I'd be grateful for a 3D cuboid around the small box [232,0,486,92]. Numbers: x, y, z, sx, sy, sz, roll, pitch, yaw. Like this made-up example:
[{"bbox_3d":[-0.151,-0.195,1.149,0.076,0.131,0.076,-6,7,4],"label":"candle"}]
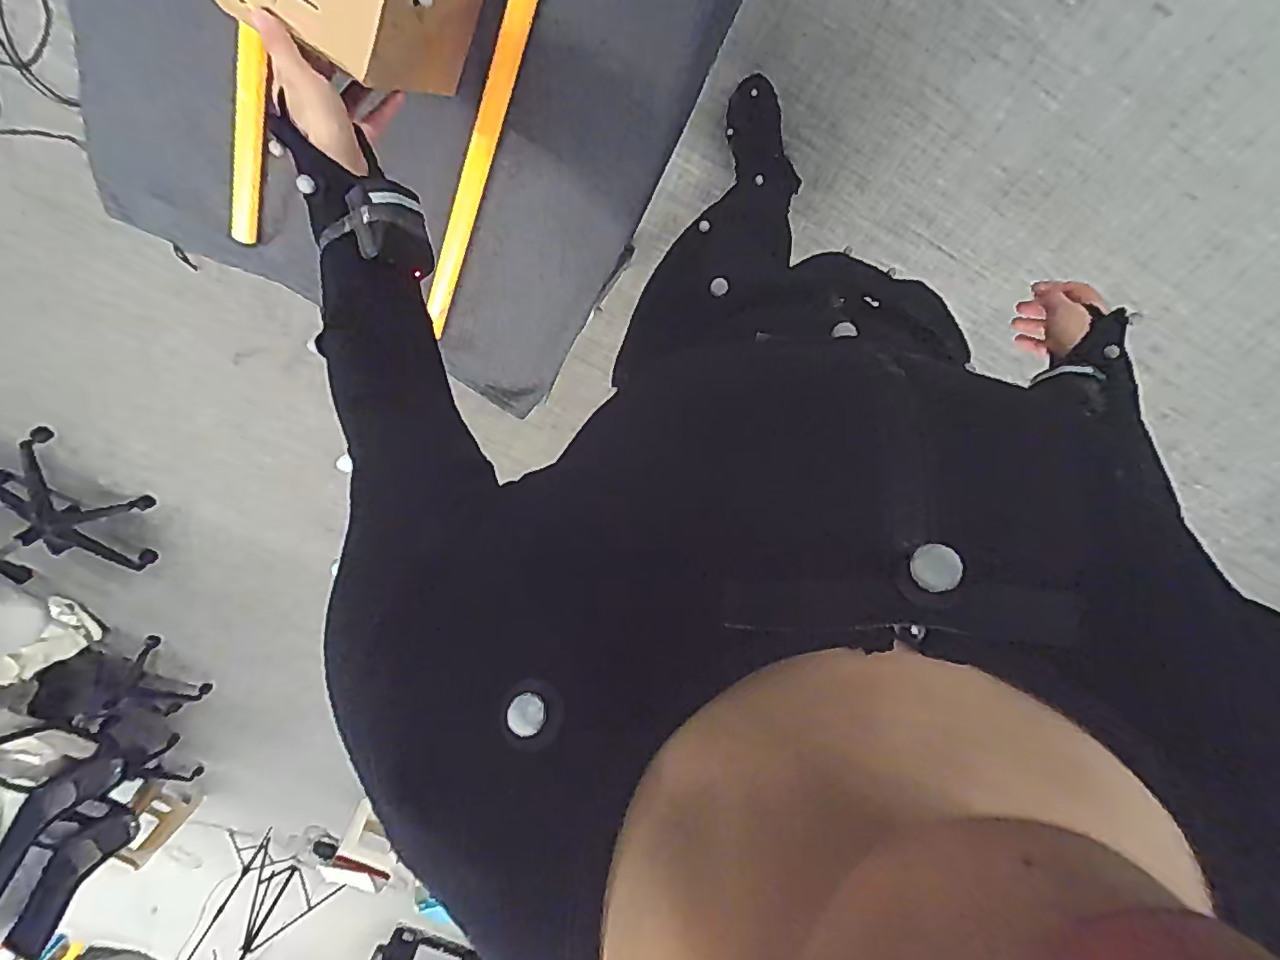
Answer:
[{"bbox_3d":[-0.229,-0.454,0.442,0.168,0.176,0.179,30,122,-11],"label":"small box"}]
